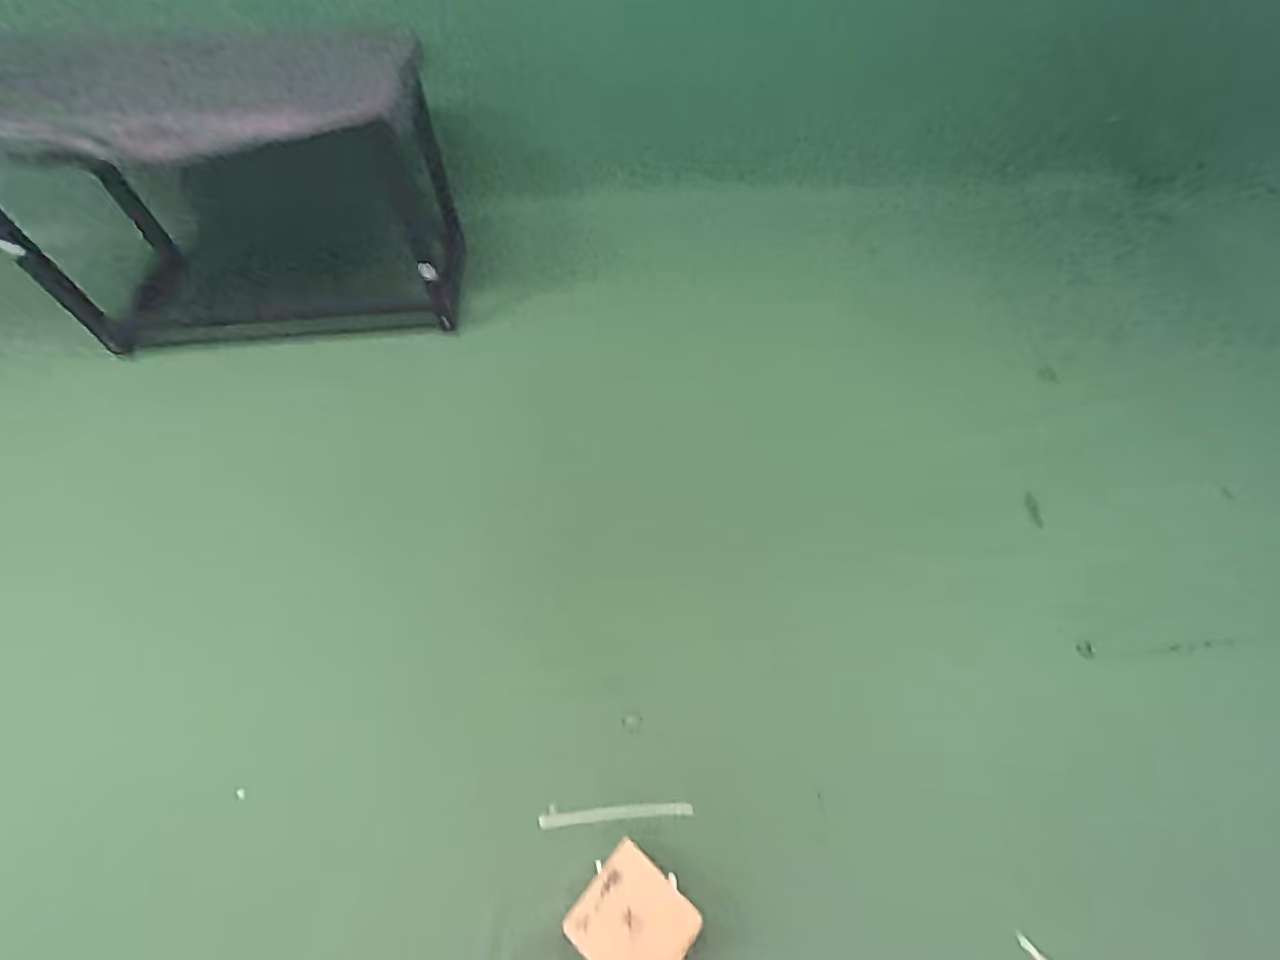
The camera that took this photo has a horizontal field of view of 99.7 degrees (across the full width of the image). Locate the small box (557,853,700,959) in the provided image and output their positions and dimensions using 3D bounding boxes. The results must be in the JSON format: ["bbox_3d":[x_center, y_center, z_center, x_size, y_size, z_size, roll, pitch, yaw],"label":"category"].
[{"bbox_3d":[-0.018,0.788,0.940,0.179,0.176,0.168,36,61,22],"label":"small box"}]
